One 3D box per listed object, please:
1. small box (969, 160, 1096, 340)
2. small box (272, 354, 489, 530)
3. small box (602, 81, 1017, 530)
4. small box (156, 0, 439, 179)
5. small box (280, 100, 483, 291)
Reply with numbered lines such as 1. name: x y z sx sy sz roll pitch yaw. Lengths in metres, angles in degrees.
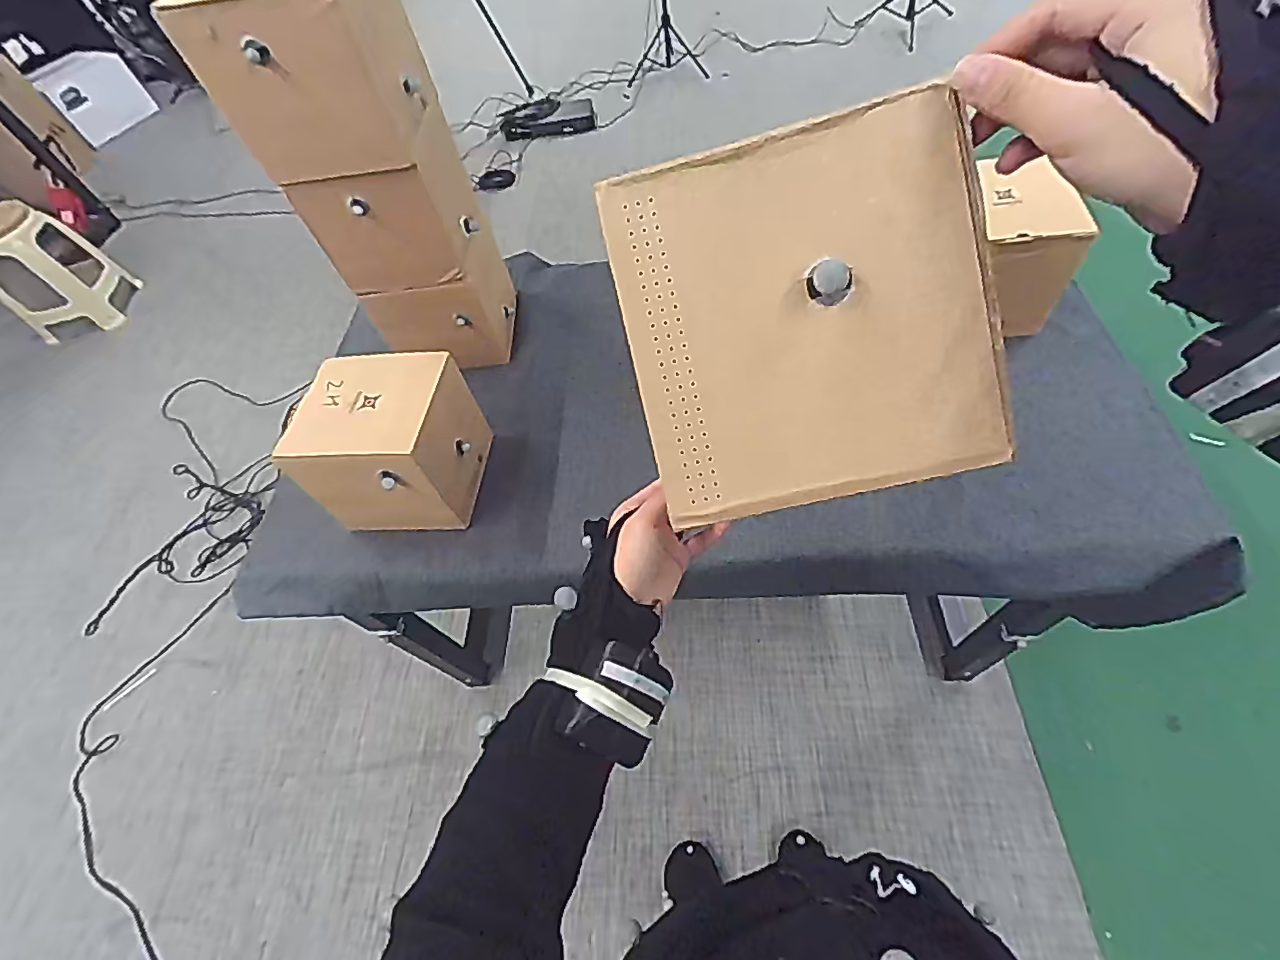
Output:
1. small box: 0.483 -0.320 0.770 0.168 0.176 0.179 -1 59 9
2. small box: -0.319 -0.045 0.712 0.179 0.176 0.168 -1 54 8
3. small box: 0.084 -0.084 0.332 0.176 0.168 0.179 -13 96 9
4. small box: -0.352 -0.459 0.597 0.179 0.176 0.168 -4 59 5
5. small box: -0.335 -0.381 0.741 0.179 0.176 0.168 -5 59 4
